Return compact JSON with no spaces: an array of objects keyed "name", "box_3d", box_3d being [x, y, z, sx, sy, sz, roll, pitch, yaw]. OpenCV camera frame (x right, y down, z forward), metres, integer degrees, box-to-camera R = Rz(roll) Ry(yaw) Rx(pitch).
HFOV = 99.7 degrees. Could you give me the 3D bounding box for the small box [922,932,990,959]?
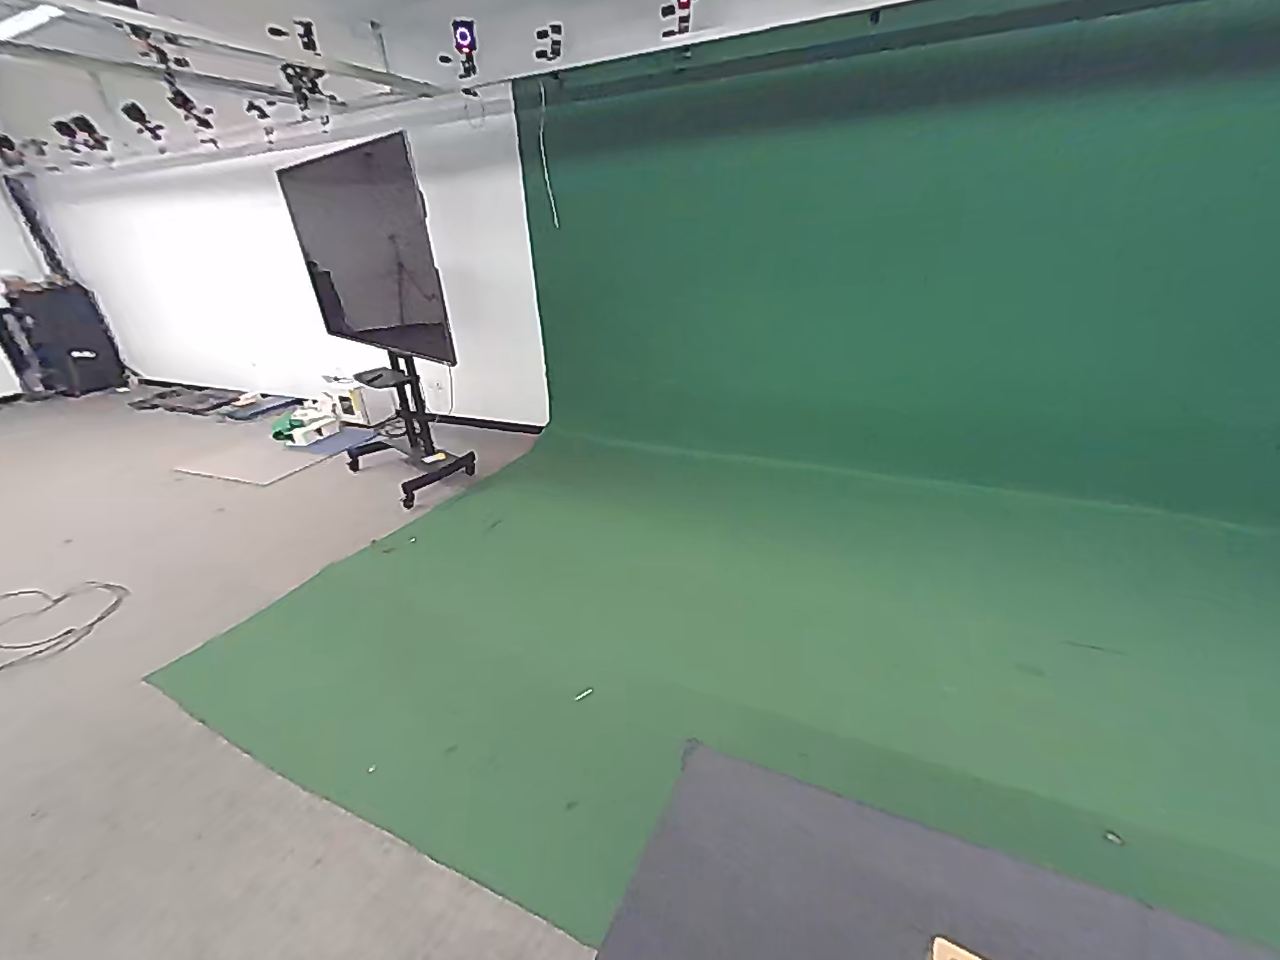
[{"name":"small box","box_3d":[0.364,0.631,0.542,0.168,0.176,0.179,9,27,28]}]
